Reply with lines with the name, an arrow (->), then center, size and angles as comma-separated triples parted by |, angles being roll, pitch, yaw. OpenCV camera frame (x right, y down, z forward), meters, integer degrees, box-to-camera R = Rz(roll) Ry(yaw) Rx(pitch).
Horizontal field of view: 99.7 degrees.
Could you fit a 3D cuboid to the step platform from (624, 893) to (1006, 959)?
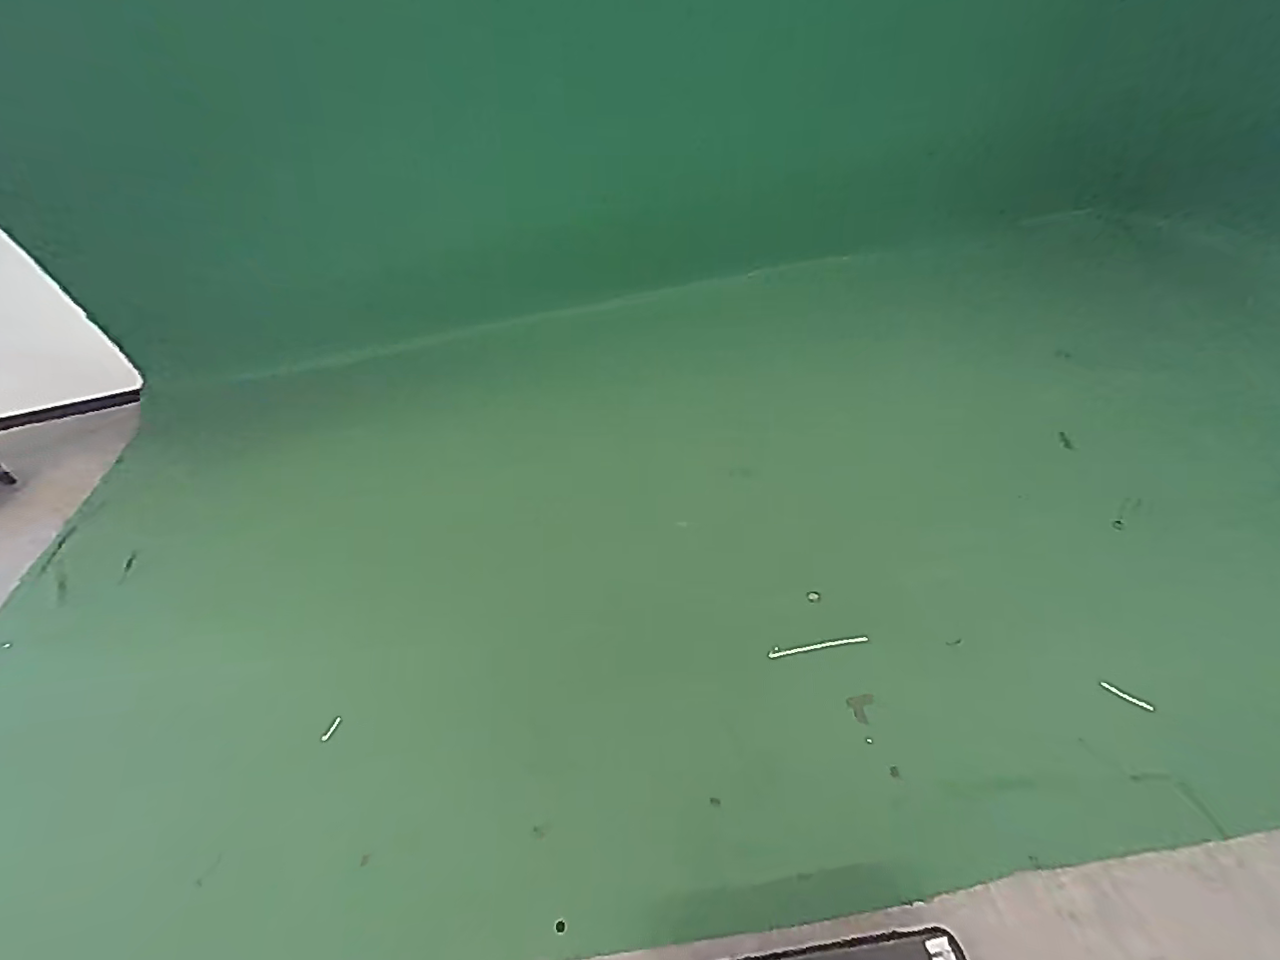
step platform -> 0.304, 0.967, 0.957 | 0.684, 0.204, 0.286 | -12, 47, 1
